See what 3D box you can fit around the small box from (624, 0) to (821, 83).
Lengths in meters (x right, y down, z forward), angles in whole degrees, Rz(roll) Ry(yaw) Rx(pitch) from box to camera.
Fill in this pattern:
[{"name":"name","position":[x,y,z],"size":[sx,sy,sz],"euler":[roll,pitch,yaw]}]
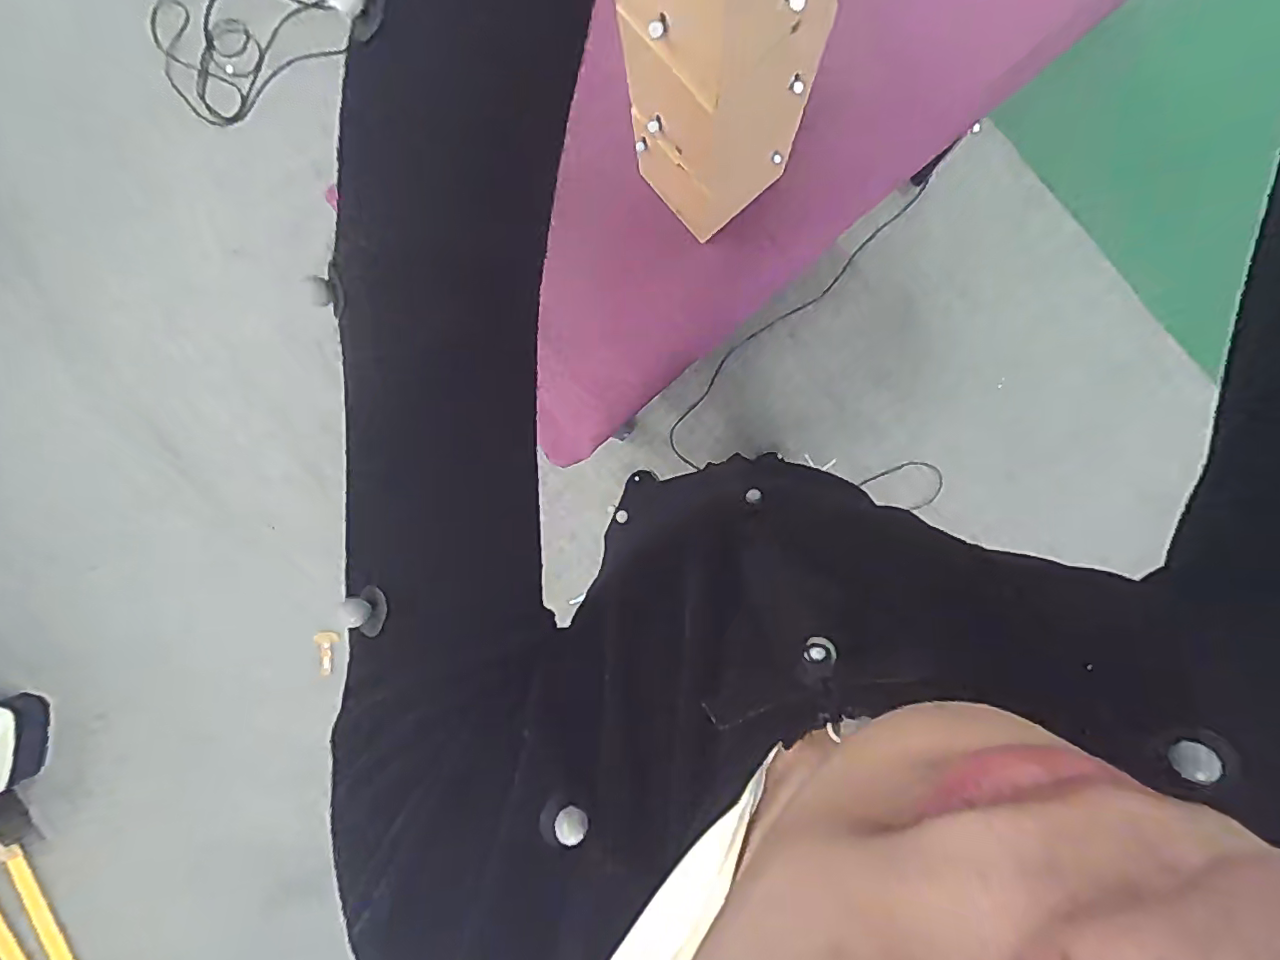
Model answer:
[{"name":"small box","position":[0.078,-0.516,0.493],"size":[0.168,0.176,0.179],"euler":[-41,88,4]}]

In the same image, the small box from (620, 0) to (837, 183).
[{"name":"small box","position":[0.098,-0.514,0.655],"size":[0.179,0.176,0.168],"euler":[-40,87,5]}]
